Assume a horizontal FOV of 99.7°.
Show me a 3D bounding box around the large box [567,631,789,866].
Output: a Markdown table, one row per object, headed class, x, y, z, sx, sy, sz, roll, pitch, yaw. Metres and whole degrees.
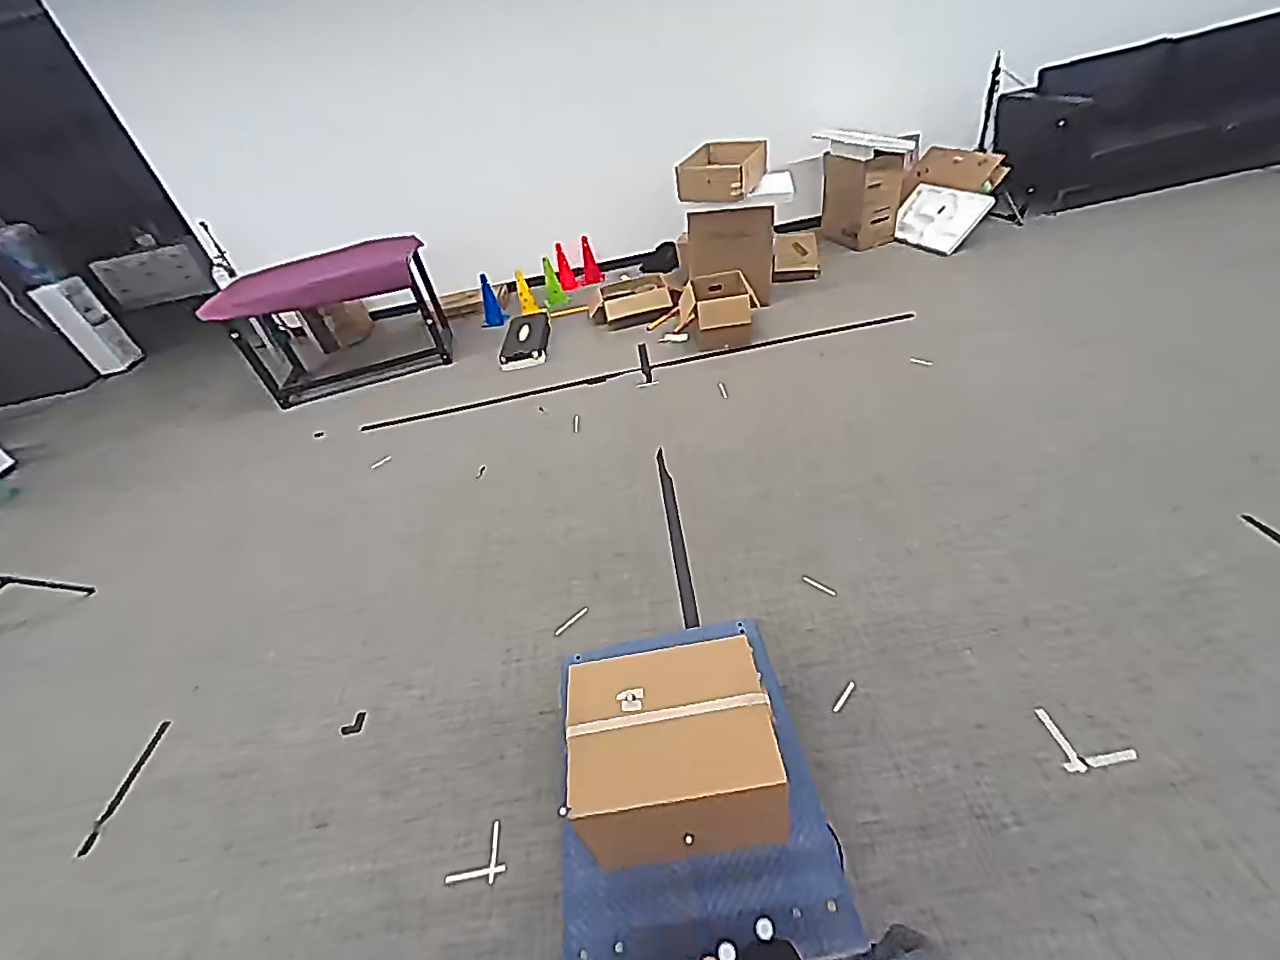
| class | x | y | z | sx | sy | sz | roll | pitch | yaw |
| --- | --- | --- | --- | --- | --- | --- | --- | --- | --- |
| large box | 0.078 | 0.579 | 1.166 | 0.408 | 0.320 | 0.320 | -12 | 38 | 3 |
